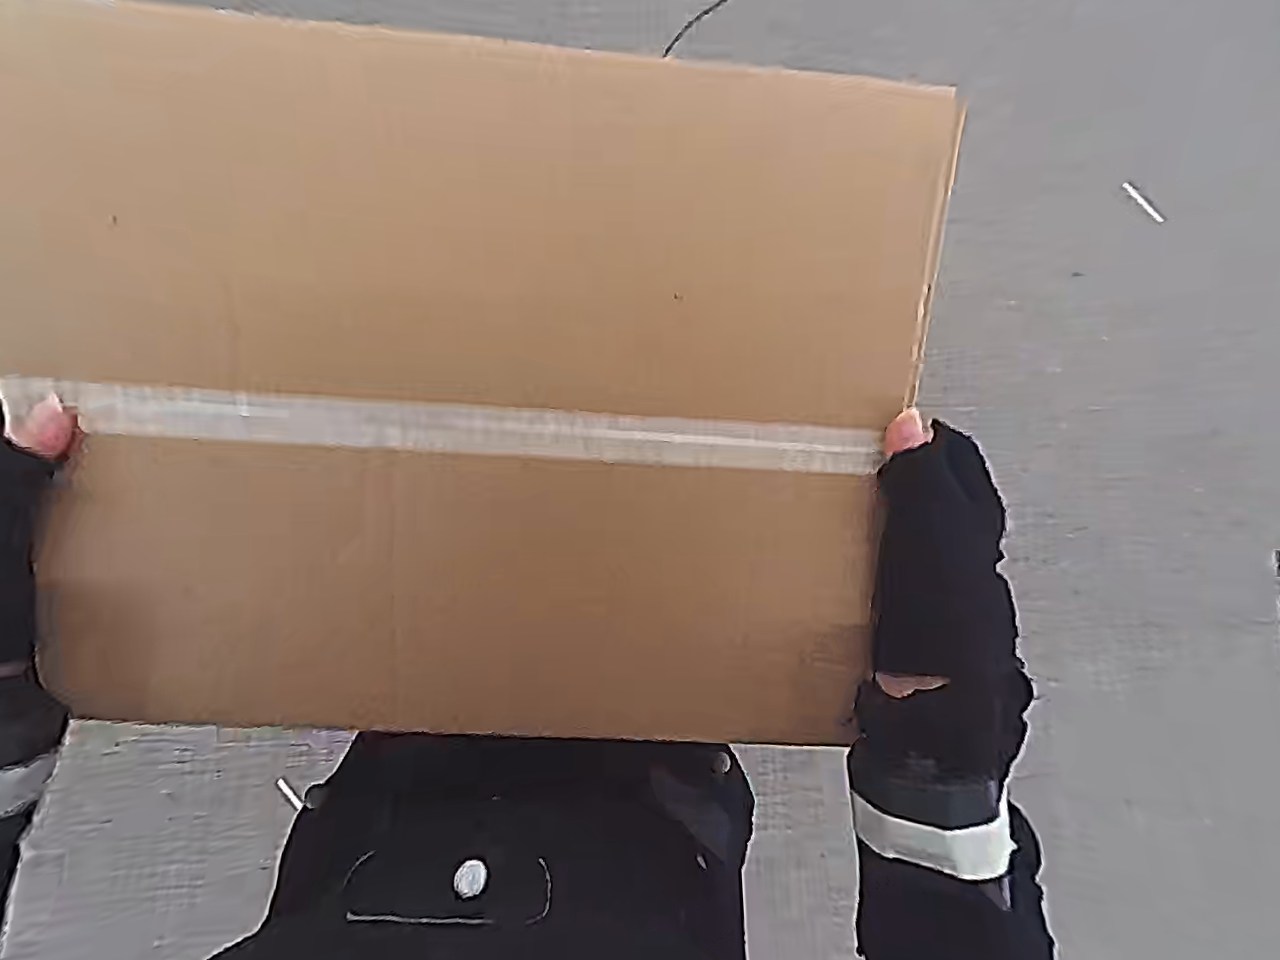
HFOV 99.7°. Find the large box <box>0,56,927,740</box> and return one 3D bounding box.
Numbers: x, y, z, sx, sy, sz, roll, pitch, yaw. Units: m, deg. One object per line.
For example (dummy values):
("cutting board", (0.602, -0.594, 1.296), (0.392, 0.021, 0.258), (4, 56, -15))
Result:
("large box", (-0.081, -0.044, 0.404), (0.408, 0.320, 0.320), (3, 100, -3))
